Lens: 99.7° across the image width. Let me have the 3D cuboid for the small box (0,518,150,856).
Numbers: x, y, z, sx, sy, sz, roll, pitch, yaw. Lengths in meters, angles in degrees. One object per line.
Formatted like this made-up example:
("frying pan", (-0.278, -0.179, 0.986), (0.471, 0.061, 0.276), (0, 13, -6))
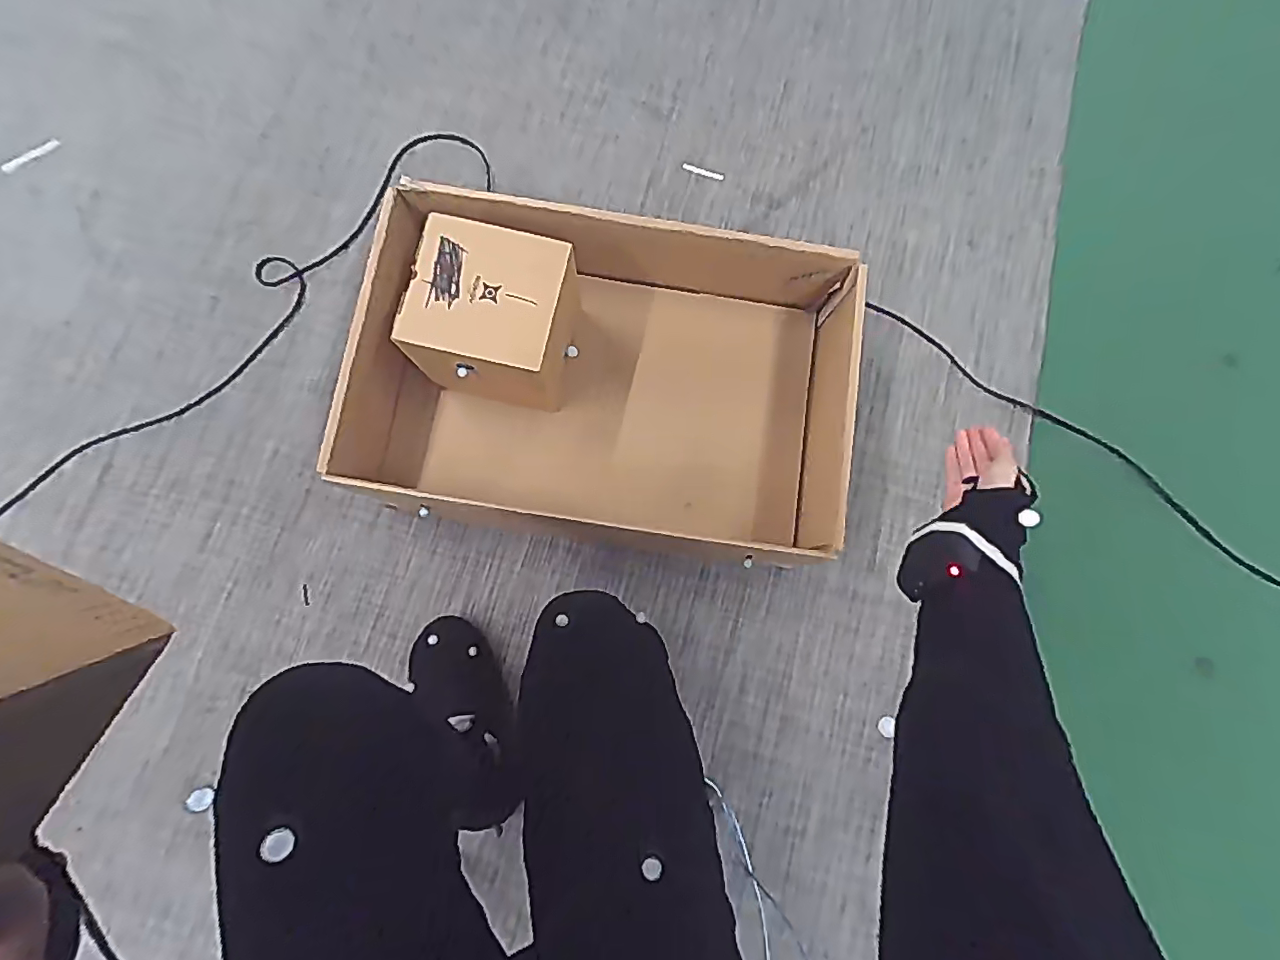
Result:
("small box", (-0.315, 0.091, 0.158), (0.168, 0.176, 0.179), (33, 81, -11))
